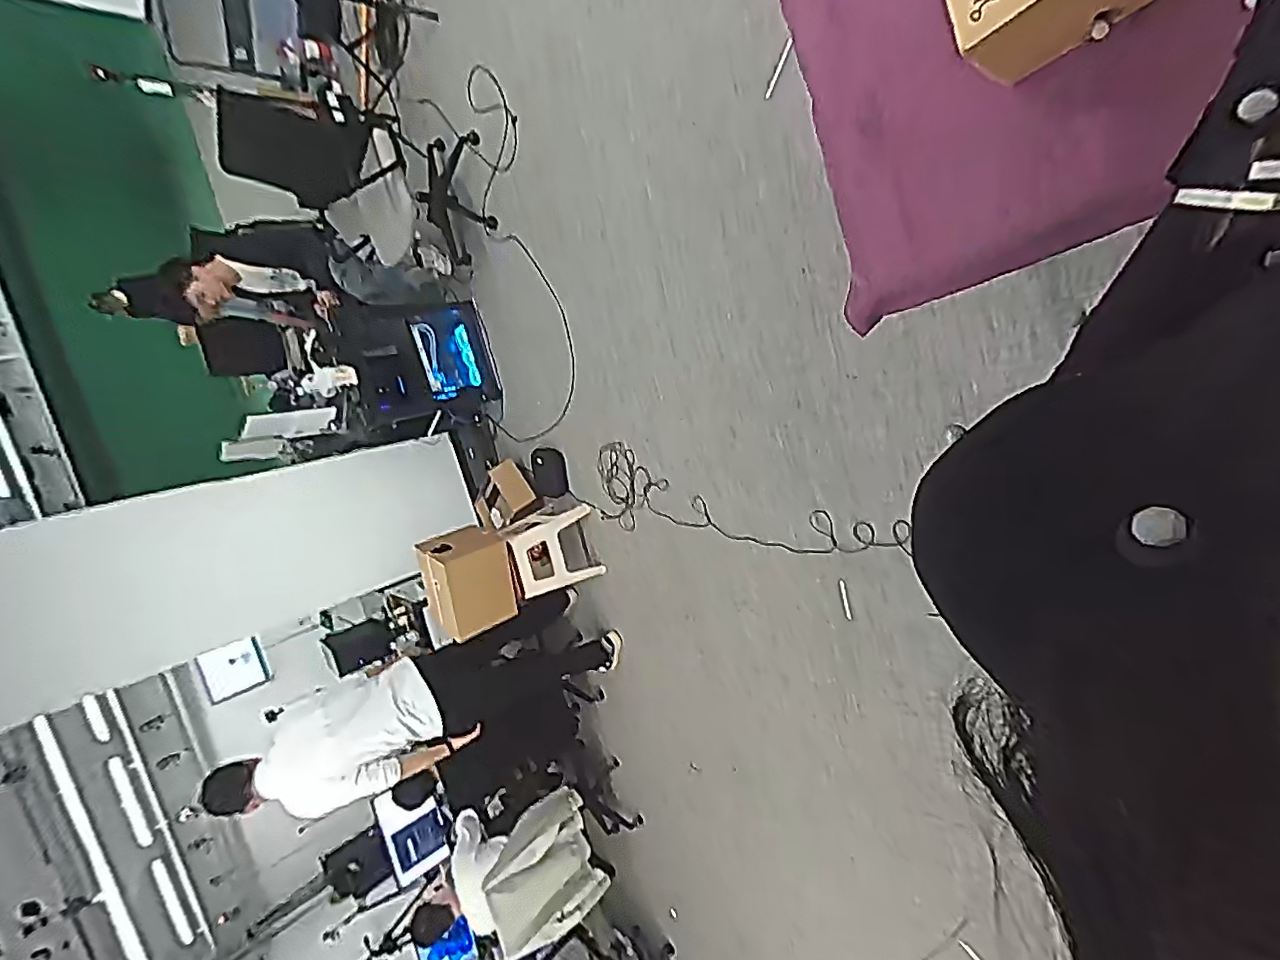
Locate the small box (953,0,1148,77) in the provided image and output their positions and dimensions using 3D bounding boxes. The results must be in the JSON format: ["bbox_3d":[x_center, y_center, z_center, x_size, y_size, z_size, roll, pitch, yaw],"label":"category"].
[{"bbox_3d":[0.392,-0.515,0.486,0.179,0.176,0.168,-14,95,50],"label":"small box"}]
